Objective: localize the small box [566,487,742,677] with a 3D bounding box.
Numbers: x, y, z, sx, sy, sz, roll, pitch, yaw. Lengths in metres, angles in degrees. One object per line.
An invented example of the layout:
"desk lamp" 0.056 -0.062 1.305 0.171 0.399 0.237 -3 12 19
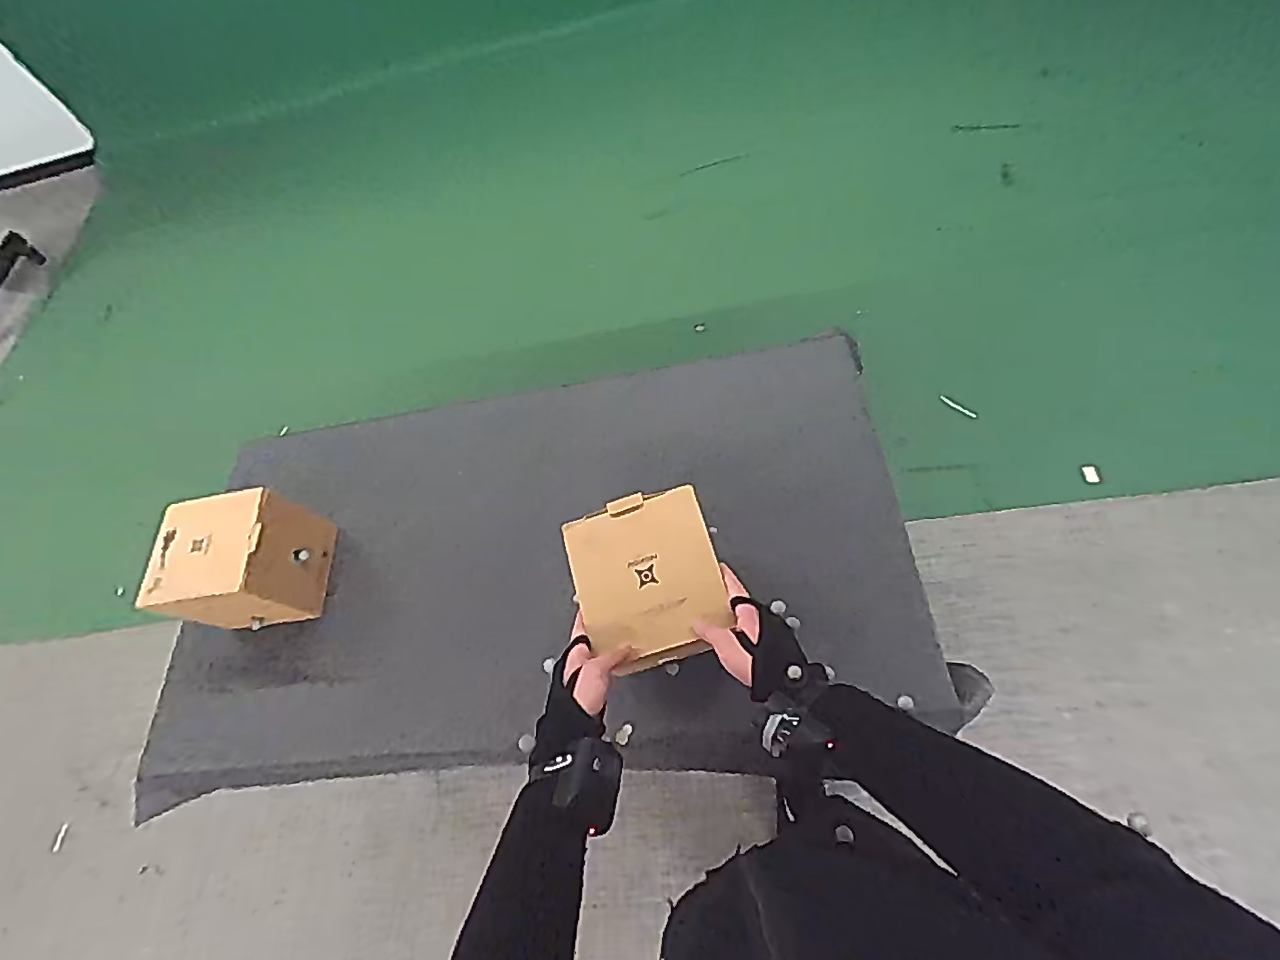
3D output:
"small box" 0.021 0.134 0.668 0.168 0.176 0.179 -16 67 5

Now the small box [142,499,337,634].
"small box" -0.632 0.147 0.882 0.179 0.176 0.168 -9 63 7
